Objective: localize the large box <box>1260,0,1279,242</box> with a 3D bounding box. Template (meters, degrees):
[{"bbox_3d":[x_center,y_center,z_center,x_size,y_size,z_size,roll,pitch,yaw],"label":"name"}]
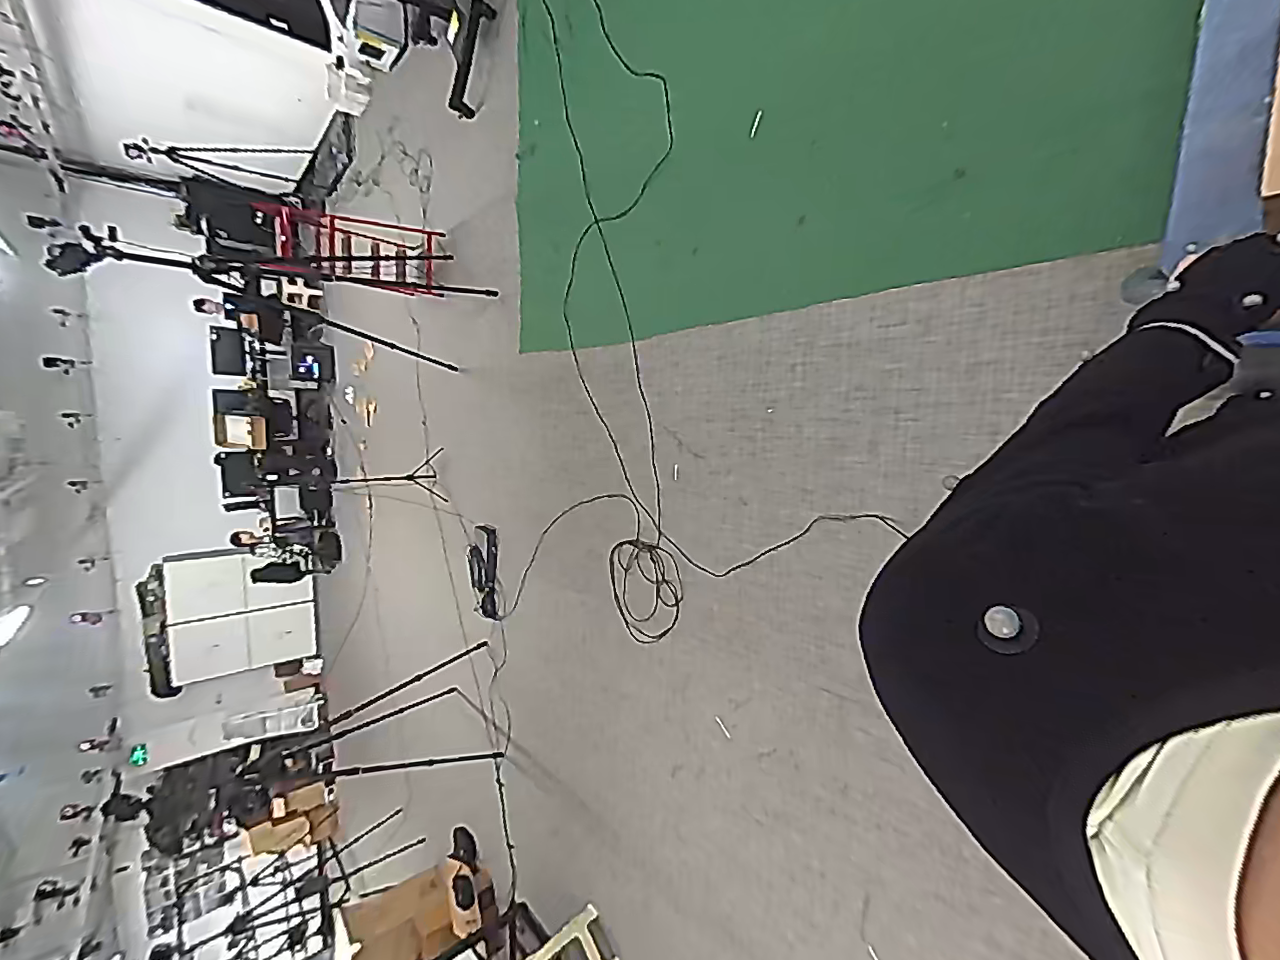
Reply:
[{"bbox_3d":[1.120,-0.604,0.749,0.320,0.320,0.408,8,99,49],"label":"large box"}]
